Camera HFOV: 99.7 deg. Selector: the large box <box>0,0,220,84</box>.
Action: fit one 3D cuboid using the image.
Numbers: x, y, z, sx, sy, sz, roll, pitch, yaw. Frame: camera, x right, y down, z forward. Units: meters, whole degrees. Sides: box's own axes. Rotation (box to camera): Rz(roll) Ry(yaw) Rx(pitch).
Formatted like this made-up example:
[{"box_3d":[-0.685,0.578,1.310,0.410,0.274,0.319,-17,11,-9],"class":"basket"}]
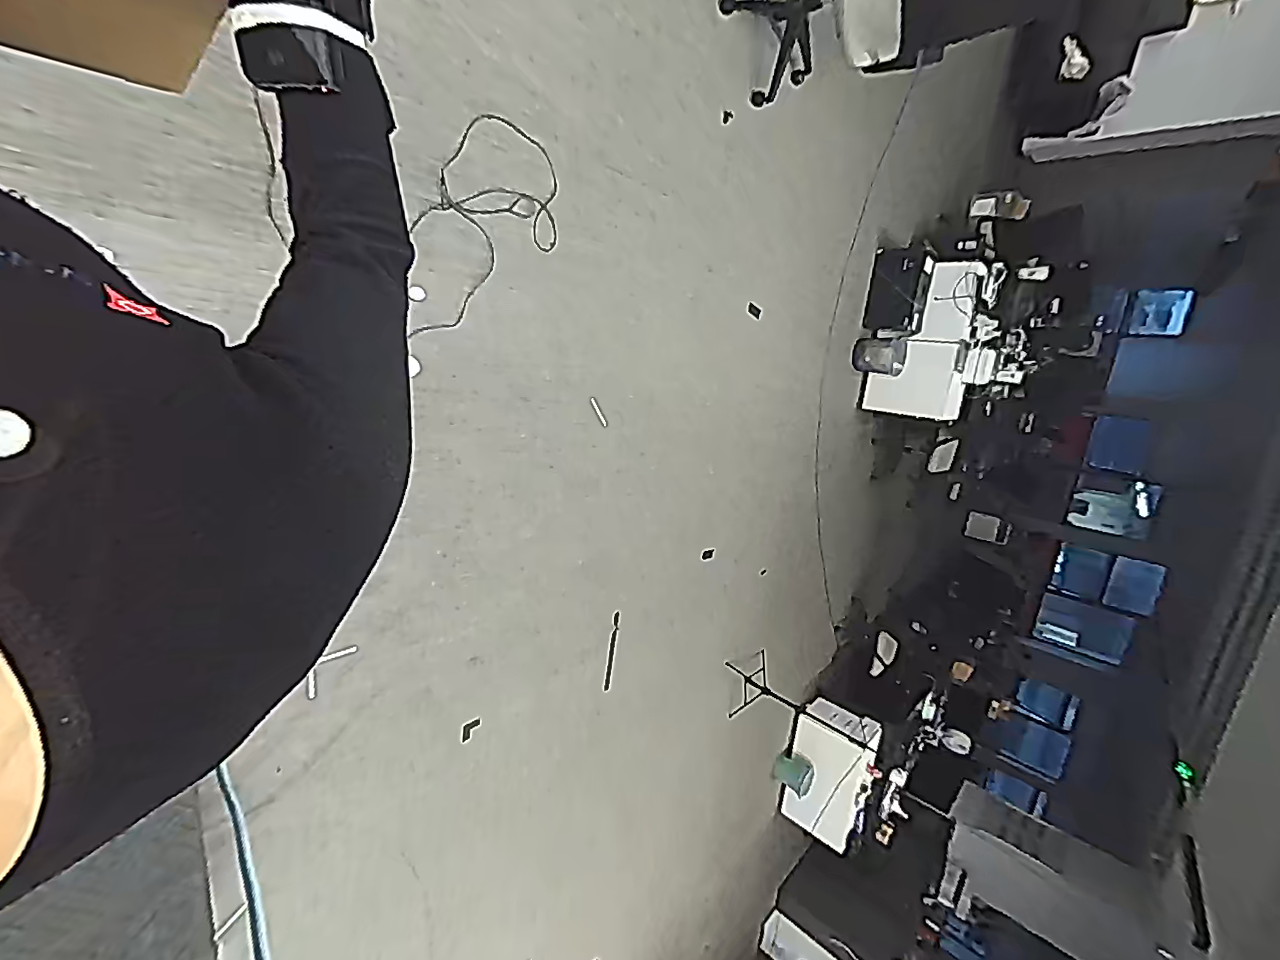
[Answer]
[{"box_3d":[-0.468,-0.466,0.245,0.408,0.320,0.320,-14,109,-46],"class":"large box"}]
